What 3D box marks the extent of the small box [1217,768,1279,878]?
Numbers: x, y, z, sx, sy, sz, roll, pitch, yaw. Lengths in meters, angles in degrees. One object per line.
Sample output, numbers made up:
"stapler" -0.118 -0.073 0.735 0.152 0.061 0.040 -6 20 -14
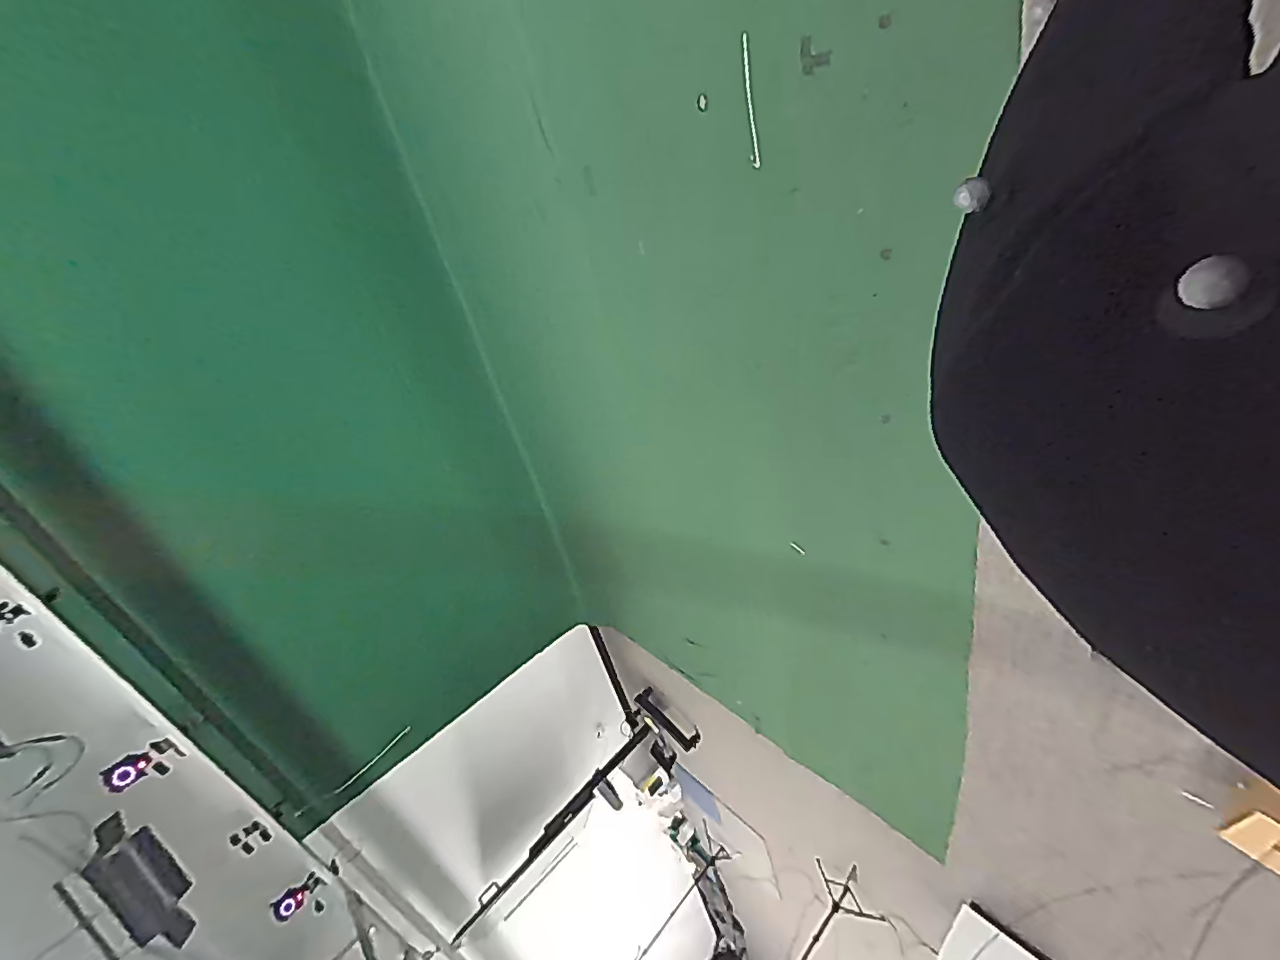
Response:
"small box" 1.602 0.860 1.331 0.179 0.176 0.168 34 143 37
